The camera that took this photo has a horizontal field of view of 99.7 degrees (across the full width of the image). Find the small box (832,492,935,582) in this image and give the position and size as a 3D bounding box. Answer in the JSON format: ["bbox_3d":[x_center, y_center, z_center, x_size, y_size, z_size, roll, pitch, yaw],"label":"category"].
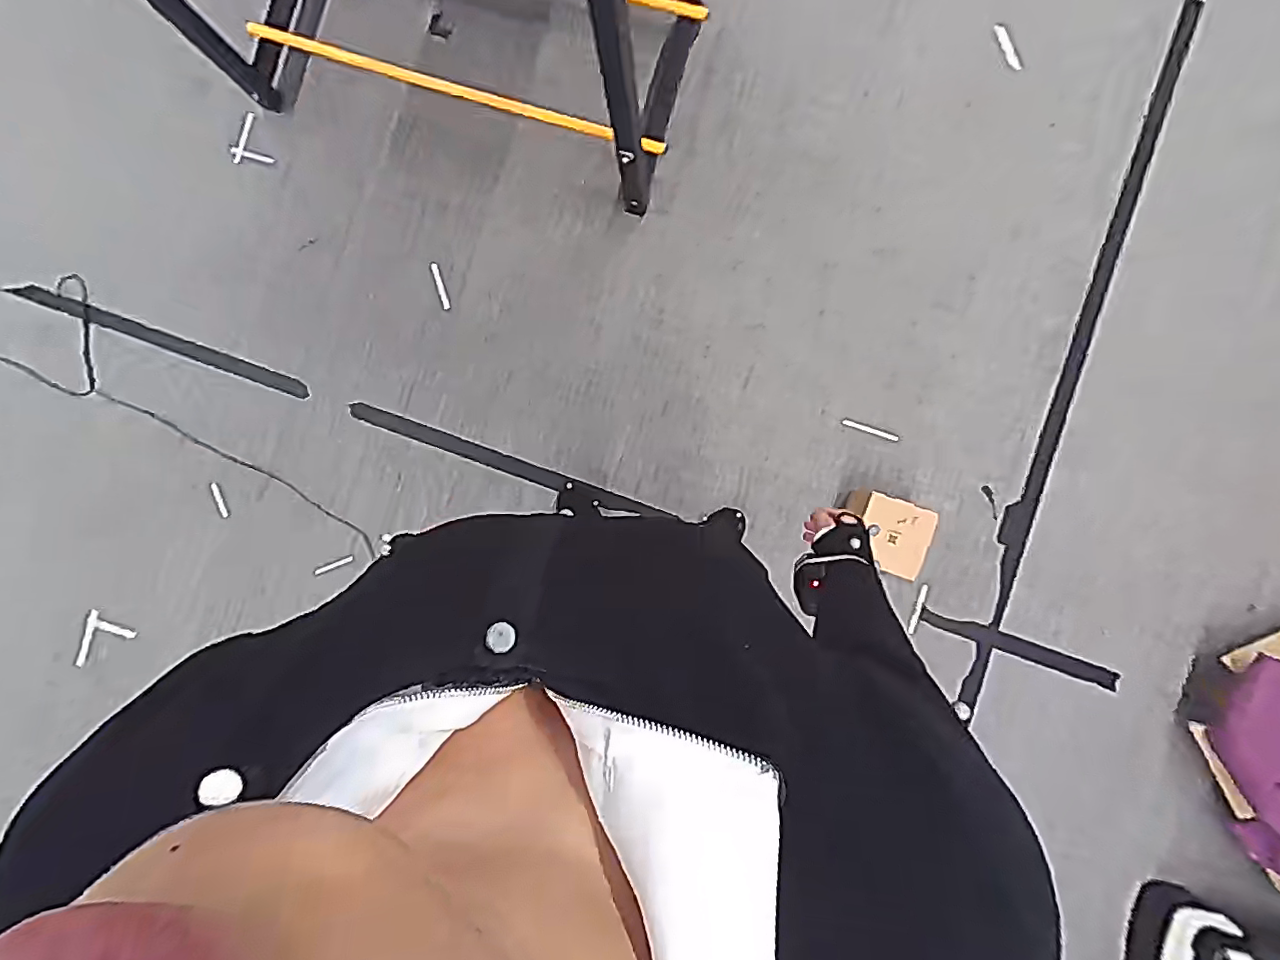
[{"bbox_3d":[0.609,0.138,1.379,0.168,0.176,0.179,20,90,4],"label":"small box"}]
